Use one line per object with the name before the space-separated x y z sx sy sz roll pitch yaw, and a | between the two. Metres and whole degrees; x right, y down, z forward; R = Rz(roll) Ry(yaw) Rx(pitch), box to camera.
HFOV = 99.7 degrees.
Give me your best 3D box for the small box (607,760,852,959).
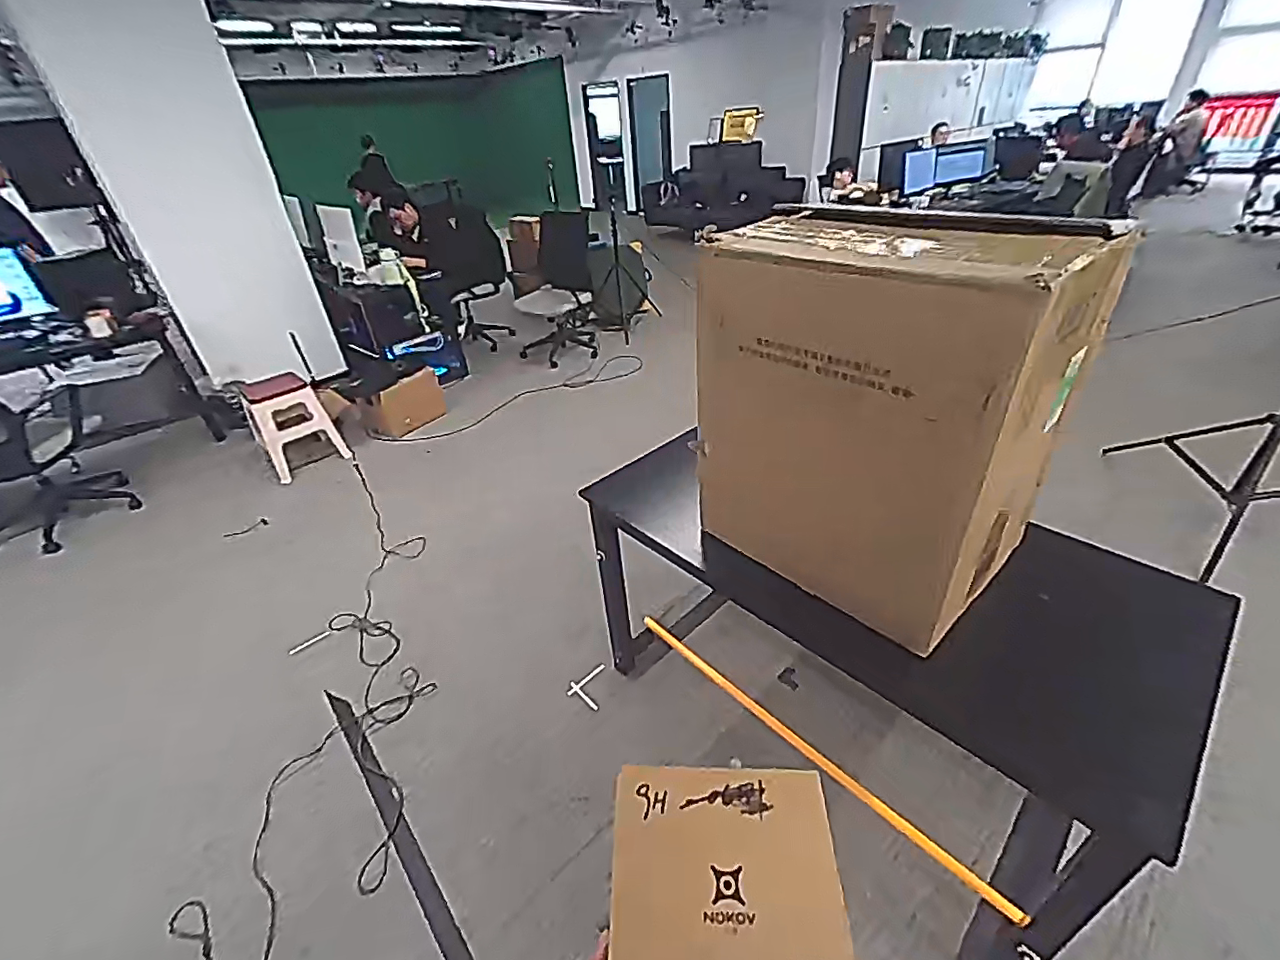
small box | 0.062 0.350 0.440 0.168 0.176 0.179 2 46 2
